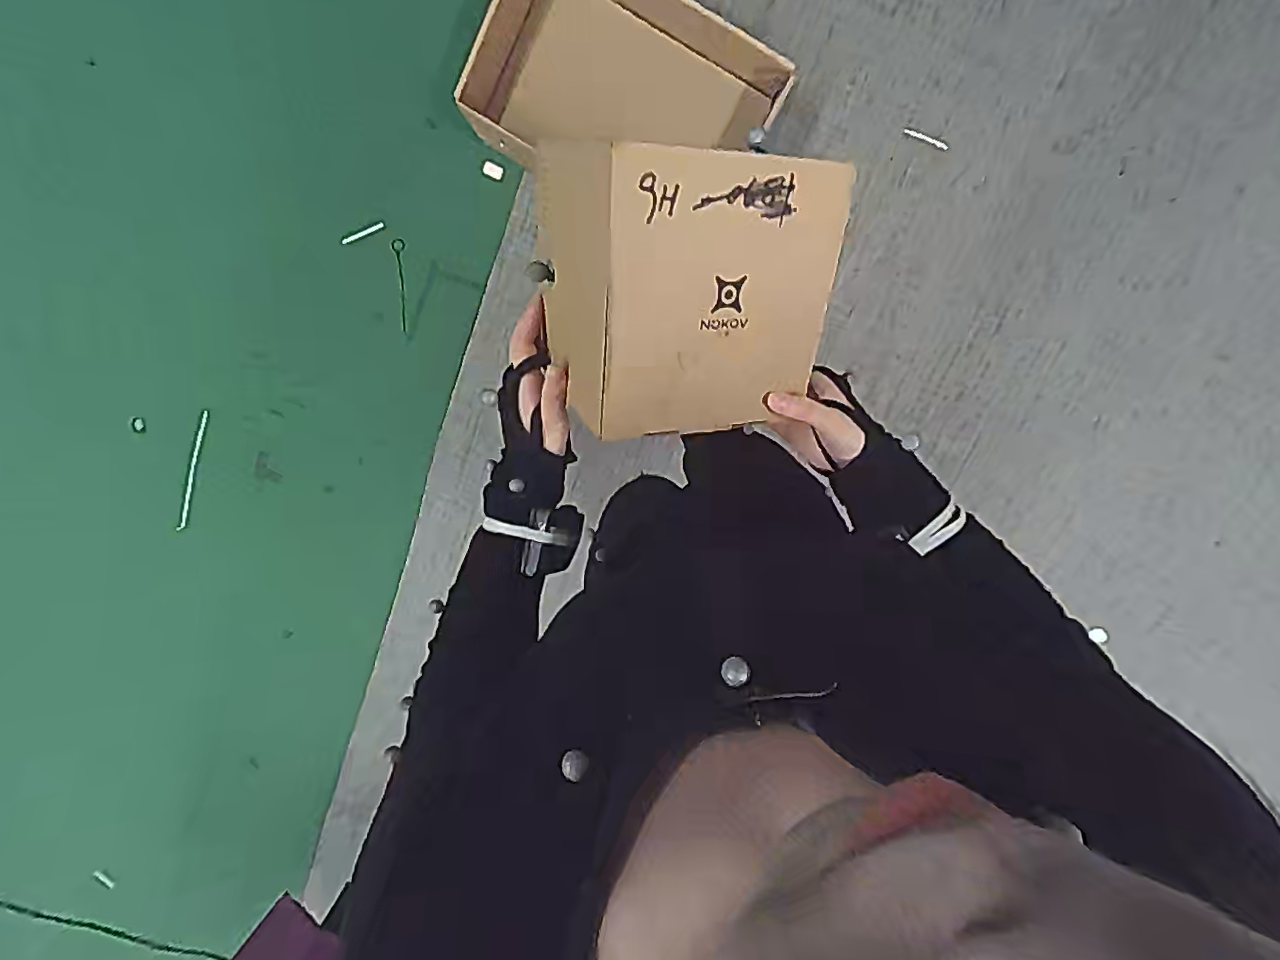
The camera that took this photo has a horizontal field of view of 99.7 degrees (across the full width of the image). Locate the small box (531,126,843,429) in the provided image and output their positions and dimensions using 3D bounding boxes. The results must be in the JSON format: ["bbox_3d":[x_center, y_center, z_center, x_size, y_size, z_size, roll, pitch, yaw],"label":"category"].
[{"bbox_3d":[0.016,-0.158,0.412,0.168,0.176,0.179,-8,123,-21],"label":"small box"}]
